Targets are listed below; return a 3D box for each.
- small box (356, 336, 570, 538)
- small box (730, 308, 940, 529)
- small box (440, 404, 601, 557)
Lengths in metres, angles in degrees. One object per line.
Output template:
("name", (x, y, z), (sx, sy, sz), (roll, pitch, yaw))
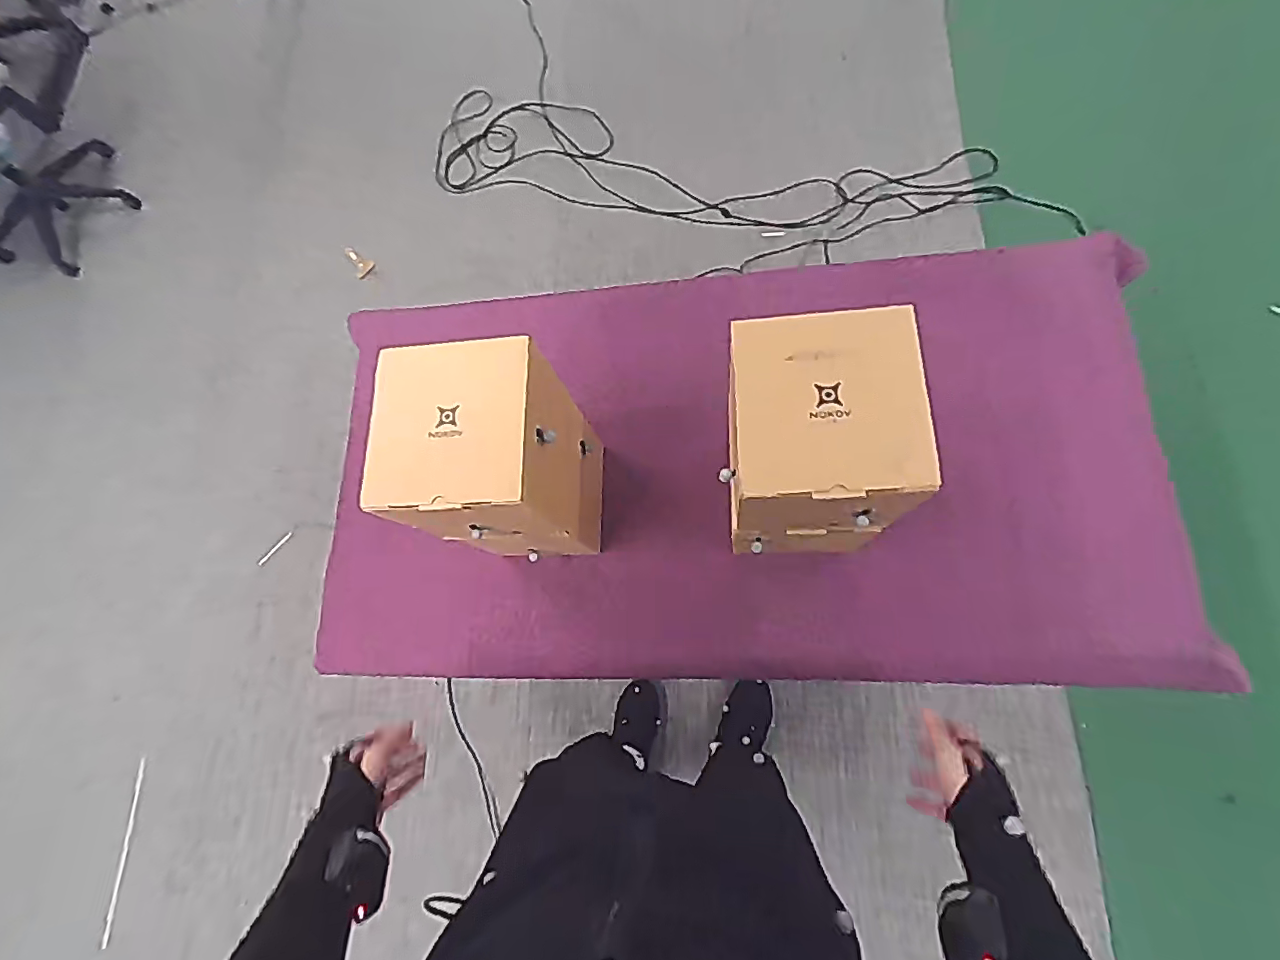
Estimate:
("small box", (-0.178, -0.037, 0.601), (0.168, 0.176, 0.179), (-3, 75, 8))
("small box", (0.177, -0.046, 0.547), (0.168, 0.176, 0.179), (-2, 73, 8))
("small box", (-0.154, 0.008, 0.754), (0.168, 0.176, 0.179), (-1, 74, 9))
